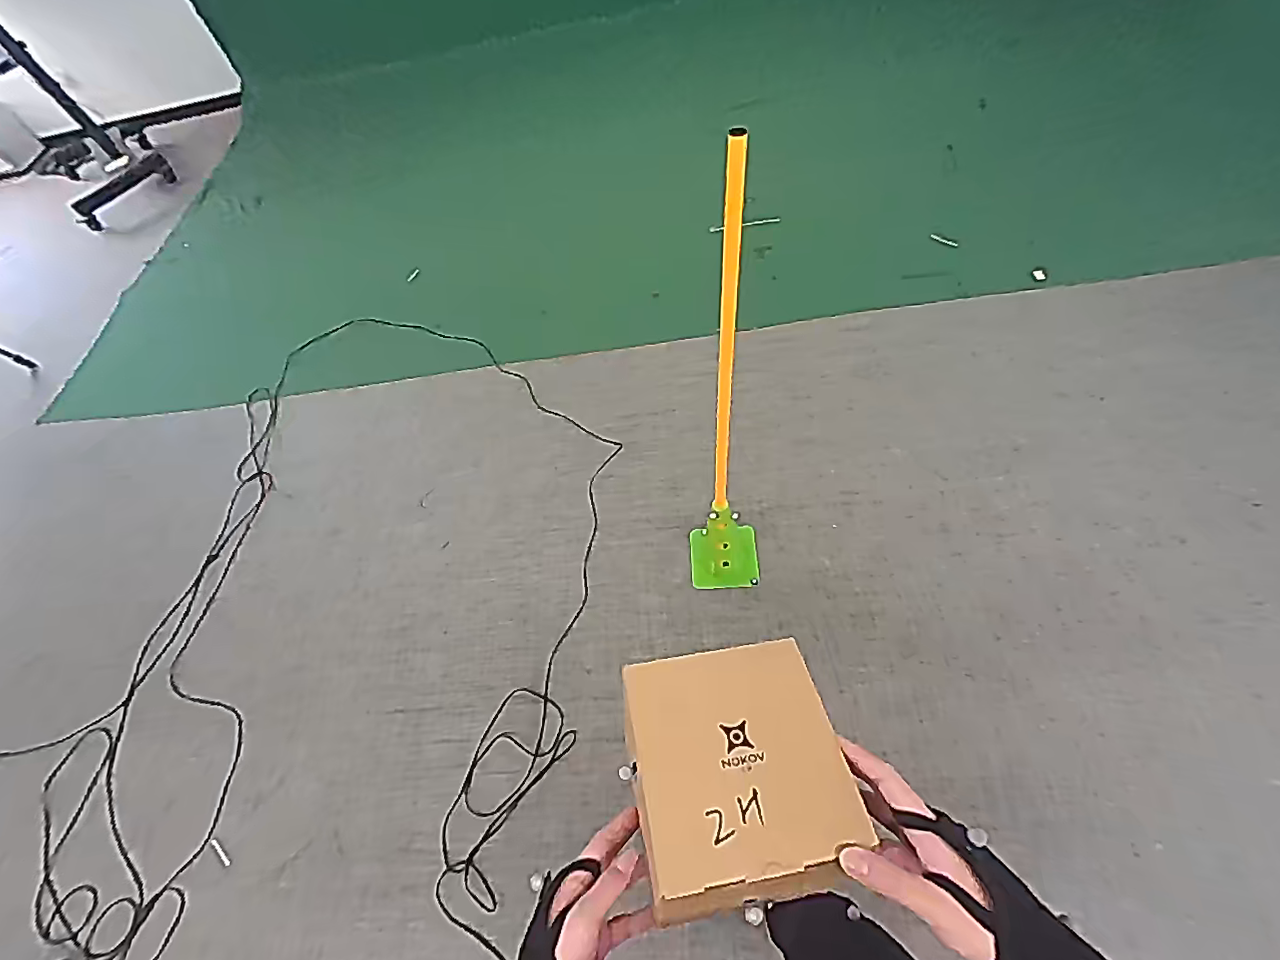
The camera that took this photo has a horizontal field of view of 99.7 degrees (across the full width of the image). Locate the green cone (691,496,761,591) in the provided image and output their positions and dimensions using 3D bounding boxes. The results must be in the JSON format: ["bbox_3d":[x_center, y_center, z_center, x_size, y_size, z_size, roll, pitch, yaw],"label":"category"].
[{"bbox_3d":[0.226,0.145,1.495,0.202,0.368,0.200,-6,57,9],"label":"green cone"}]
